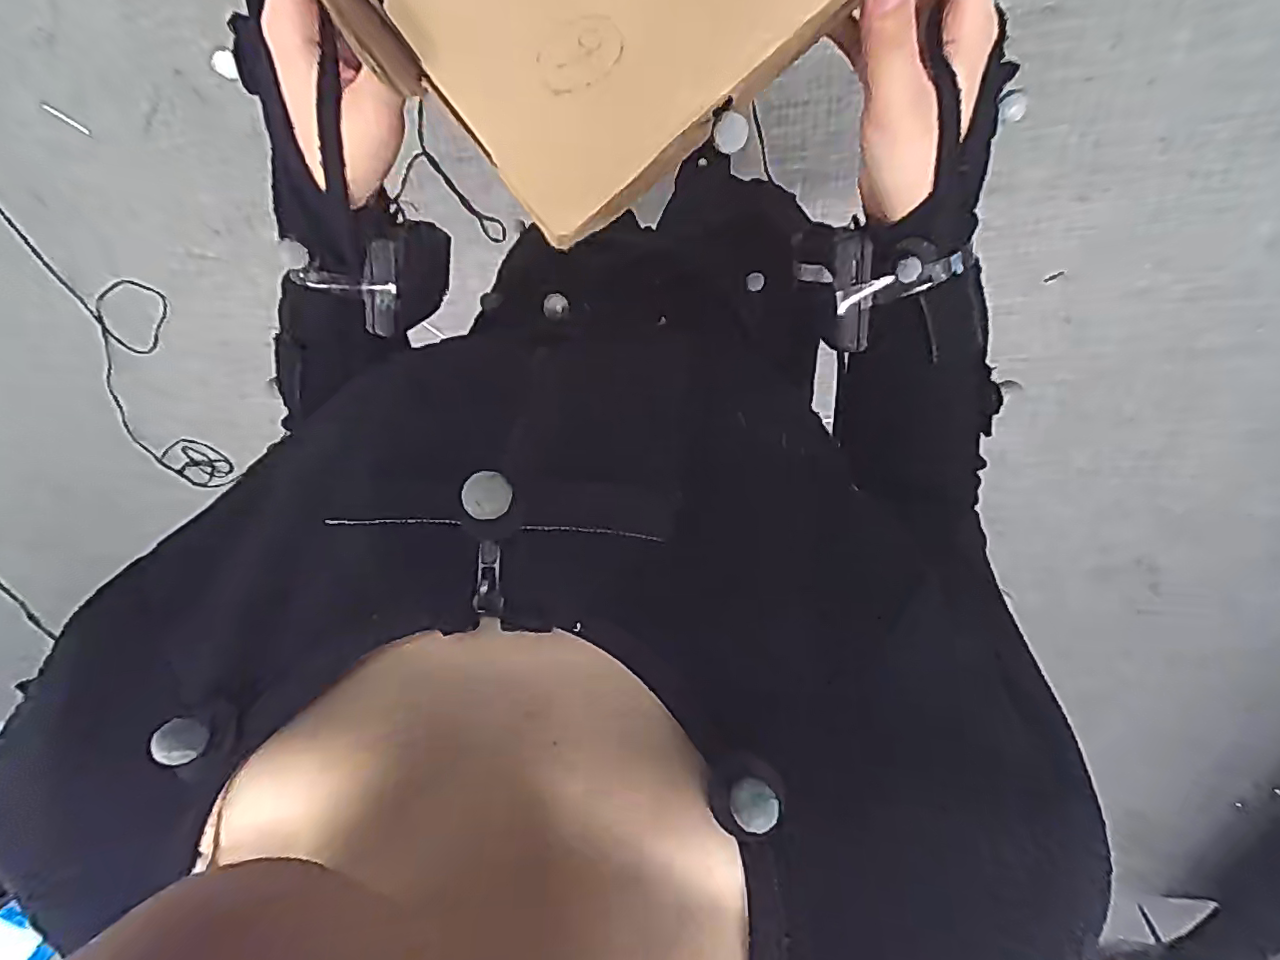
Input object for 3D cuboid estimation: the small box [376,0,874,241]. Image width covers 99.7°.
[{"bbox_3d":[-0.002,-0.221,0.205,0.179,0.176,0.168,-34,111,19],"label":"small box"}]
